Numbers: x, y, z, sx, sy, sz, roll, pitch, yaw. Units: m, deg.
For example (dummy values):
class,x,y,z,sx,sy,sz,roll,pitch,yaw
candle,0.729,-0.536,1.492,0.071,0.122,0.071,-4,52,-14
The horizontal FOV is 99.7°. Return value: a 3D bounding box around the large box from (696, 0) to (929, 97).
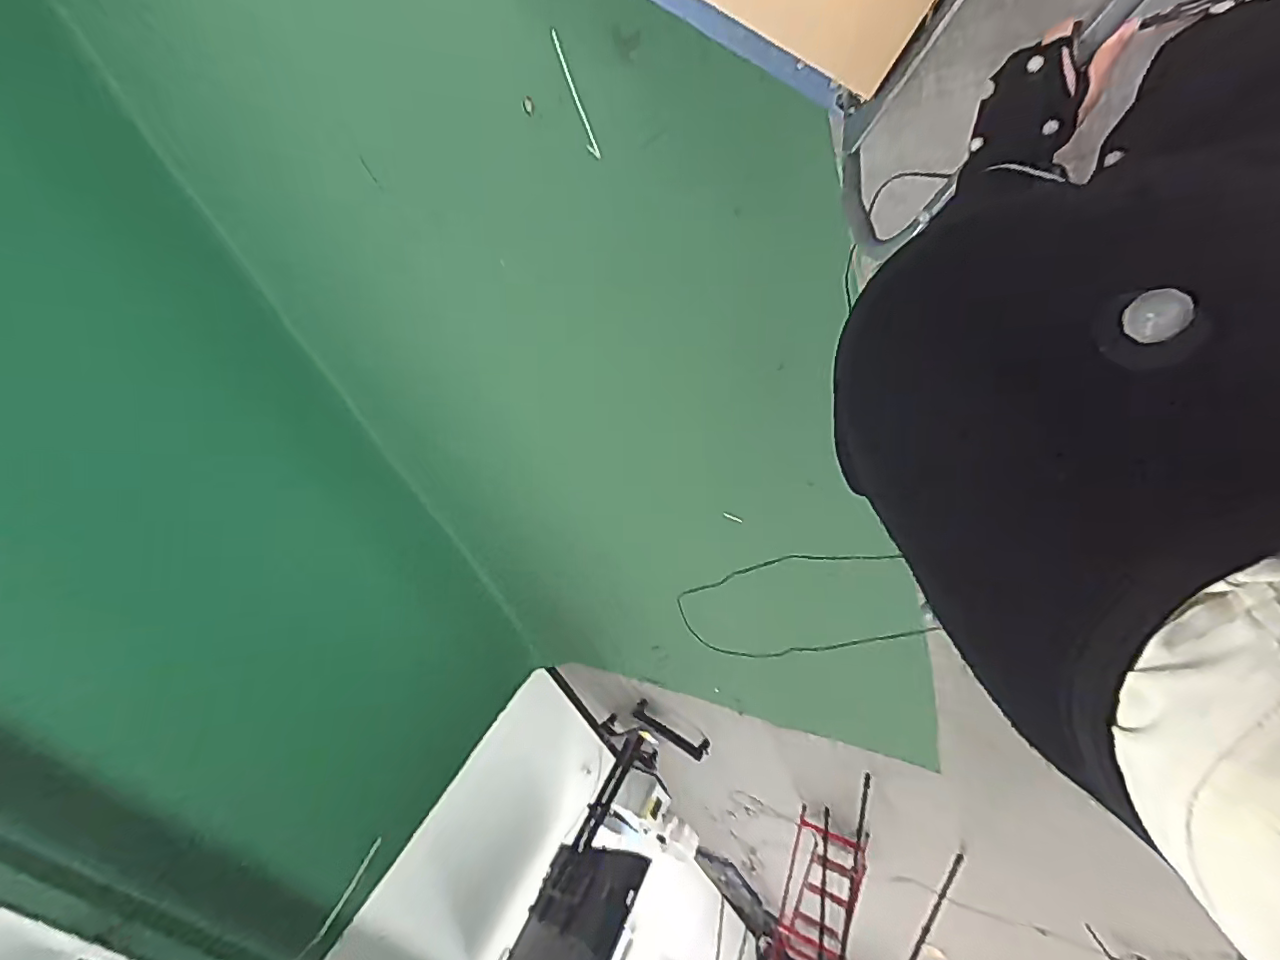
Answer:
class,x,y,z,sx,sy,sz,roll,pitch,yaw
large box,0.293,-0.897,0.838,0.408,0.320,0.320,26,142,-6
